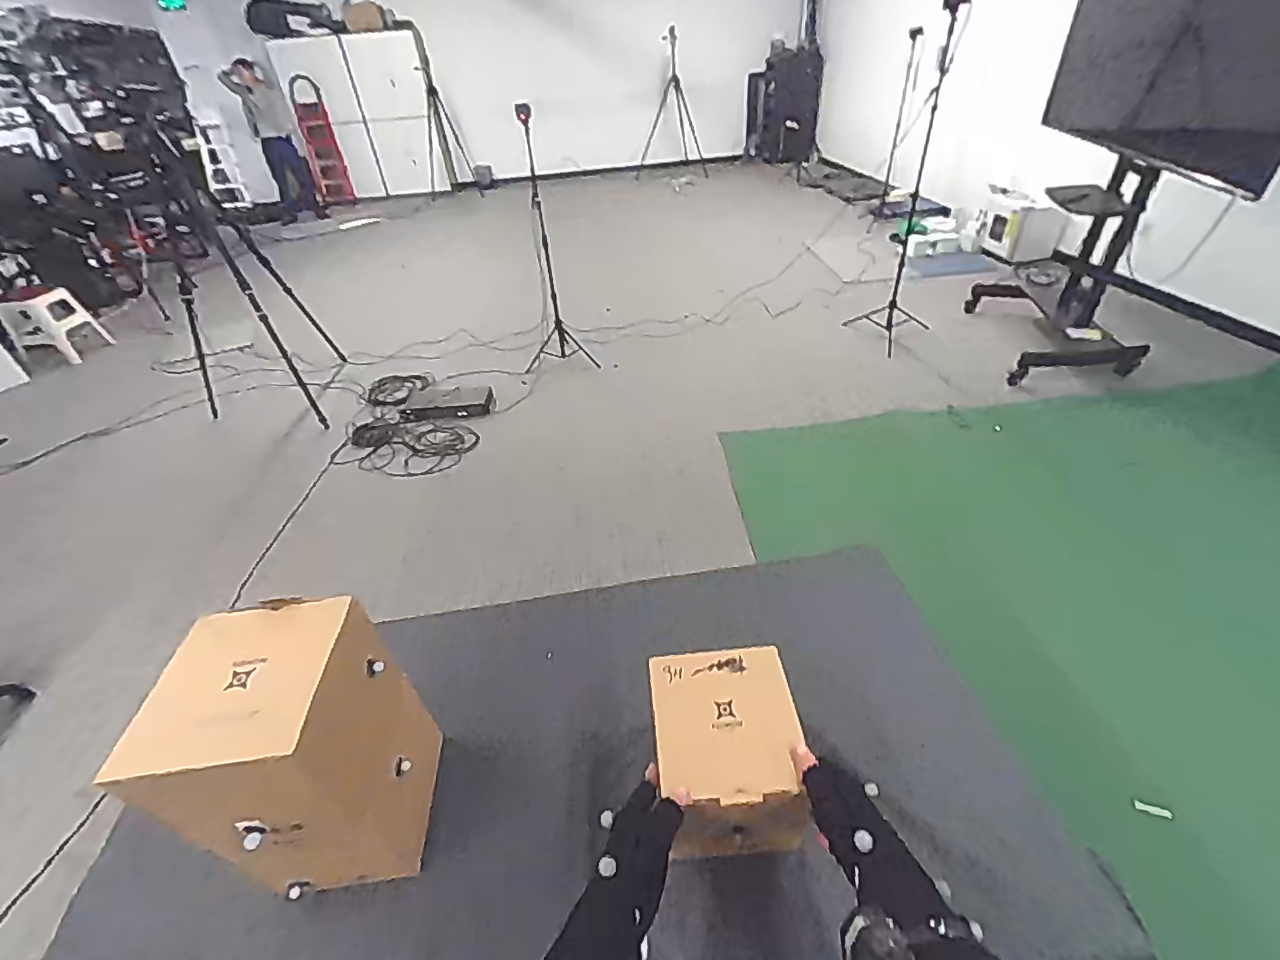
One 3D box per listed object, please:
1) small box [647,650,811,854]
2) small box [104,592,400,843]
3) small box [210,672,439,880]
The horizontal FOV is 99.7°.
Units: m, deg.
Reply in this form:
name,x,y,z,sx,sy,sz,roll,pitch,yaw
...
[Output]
name,x,y,z,sx,sy,sz,roll,pitch,yaw
small box,0.100,0.339,0.670,0.168,0.176,0.179,-5,39,0
small box,-0.374,0.246,0.570,0.168,0.176,0.179,-7,39,-3
small box,-0.367,0.370,0.674,0.168,0.176,0.179,-6,37,-2
